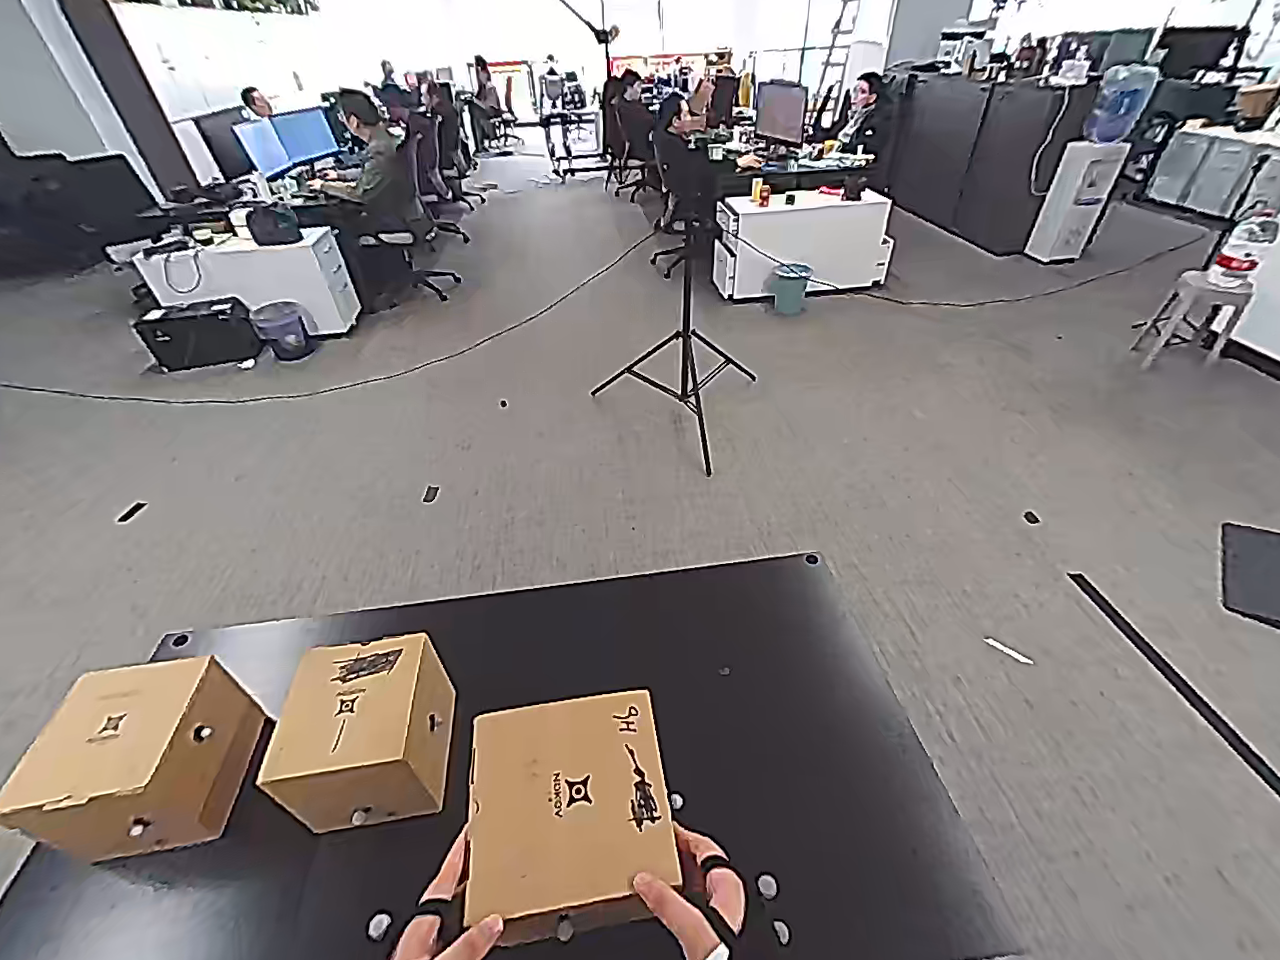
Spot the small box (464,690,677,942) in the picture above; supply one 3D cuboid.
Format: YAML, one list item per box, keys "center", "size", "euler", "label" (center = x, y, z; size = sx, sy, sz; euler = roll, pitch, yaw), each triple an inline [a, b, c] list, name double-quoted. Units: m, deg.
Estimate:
- center: [-0.064, 0.338, 0.545]
  size: [0.179, 0.176, 0.168]
  euler: [-7, 45, -7]
  label: "small box"

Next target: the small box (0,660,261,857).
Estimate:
- center: [-0.649, 0.372, 0.719]
  size: [0.168, 0.176, 0.179]
  euler: [-7, 39, -7]
  label: "small box"

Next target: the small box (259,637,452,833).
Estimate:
- center: [-0.364, 0.344, 0.736]
  size: [0.168, 0.176, 0.179]
  euler: [-7, 41, -5]
  label: "small box"
